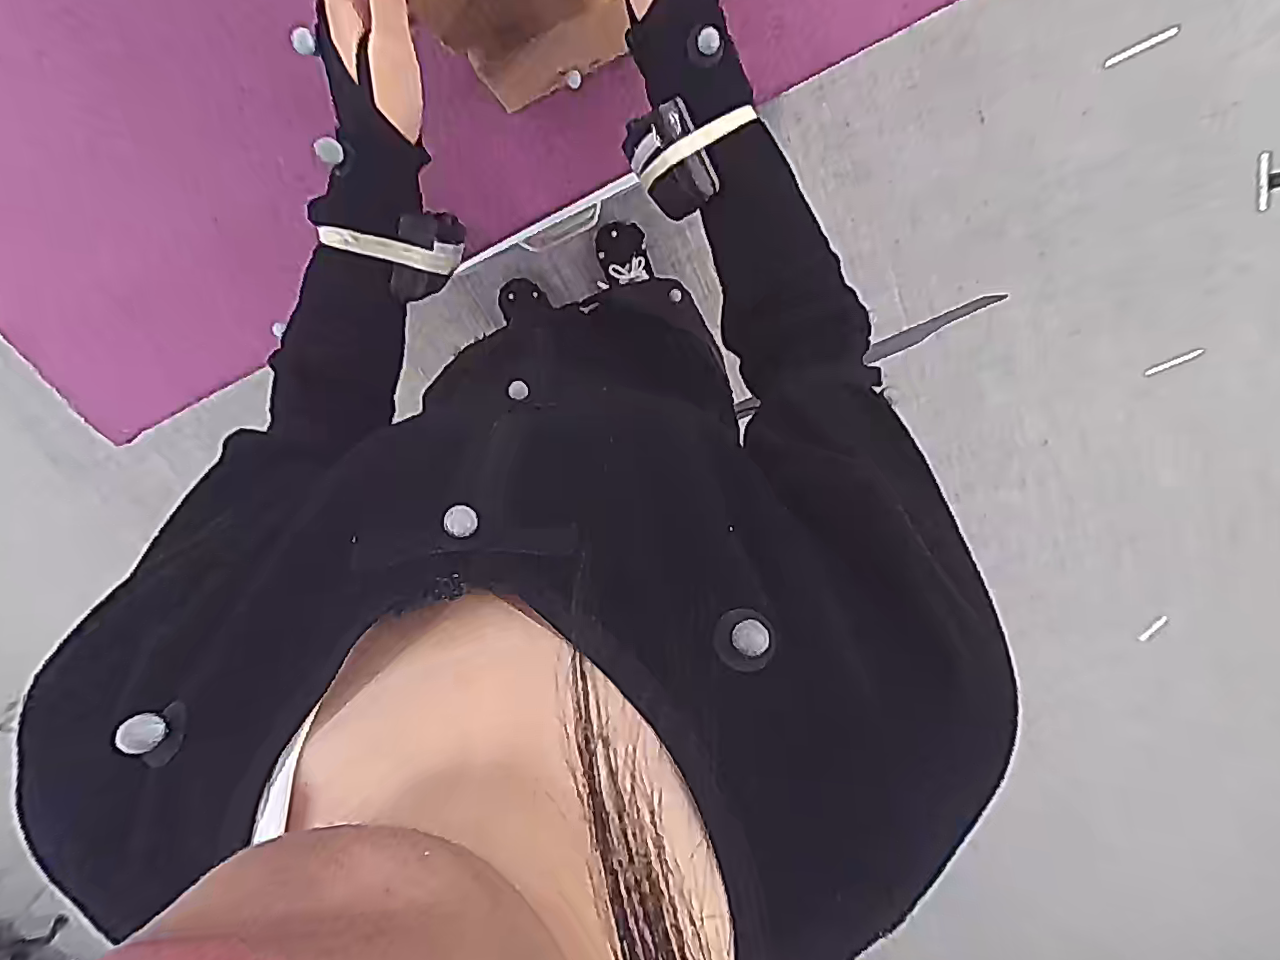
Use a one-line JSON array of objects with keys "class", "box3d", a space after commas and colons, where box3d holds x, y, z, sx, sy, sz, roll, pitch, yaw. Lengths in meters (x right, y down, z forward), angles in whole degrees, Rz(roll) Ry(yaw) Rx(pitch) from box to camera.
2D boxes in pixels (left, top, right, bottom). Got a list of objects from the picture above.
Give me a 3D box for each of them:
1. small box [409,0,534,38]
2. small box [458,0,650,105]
[{"class": "small box", "box3d": [-0.103, -0.414, 0.319, 0.179, 0.176, 0.168, -22, 114, 8]}, {"class": "small box", "box3d": [-0.100, -0.471, 0.472, 0.168, 0.176, 0.179, -22, 114, 7]}]
